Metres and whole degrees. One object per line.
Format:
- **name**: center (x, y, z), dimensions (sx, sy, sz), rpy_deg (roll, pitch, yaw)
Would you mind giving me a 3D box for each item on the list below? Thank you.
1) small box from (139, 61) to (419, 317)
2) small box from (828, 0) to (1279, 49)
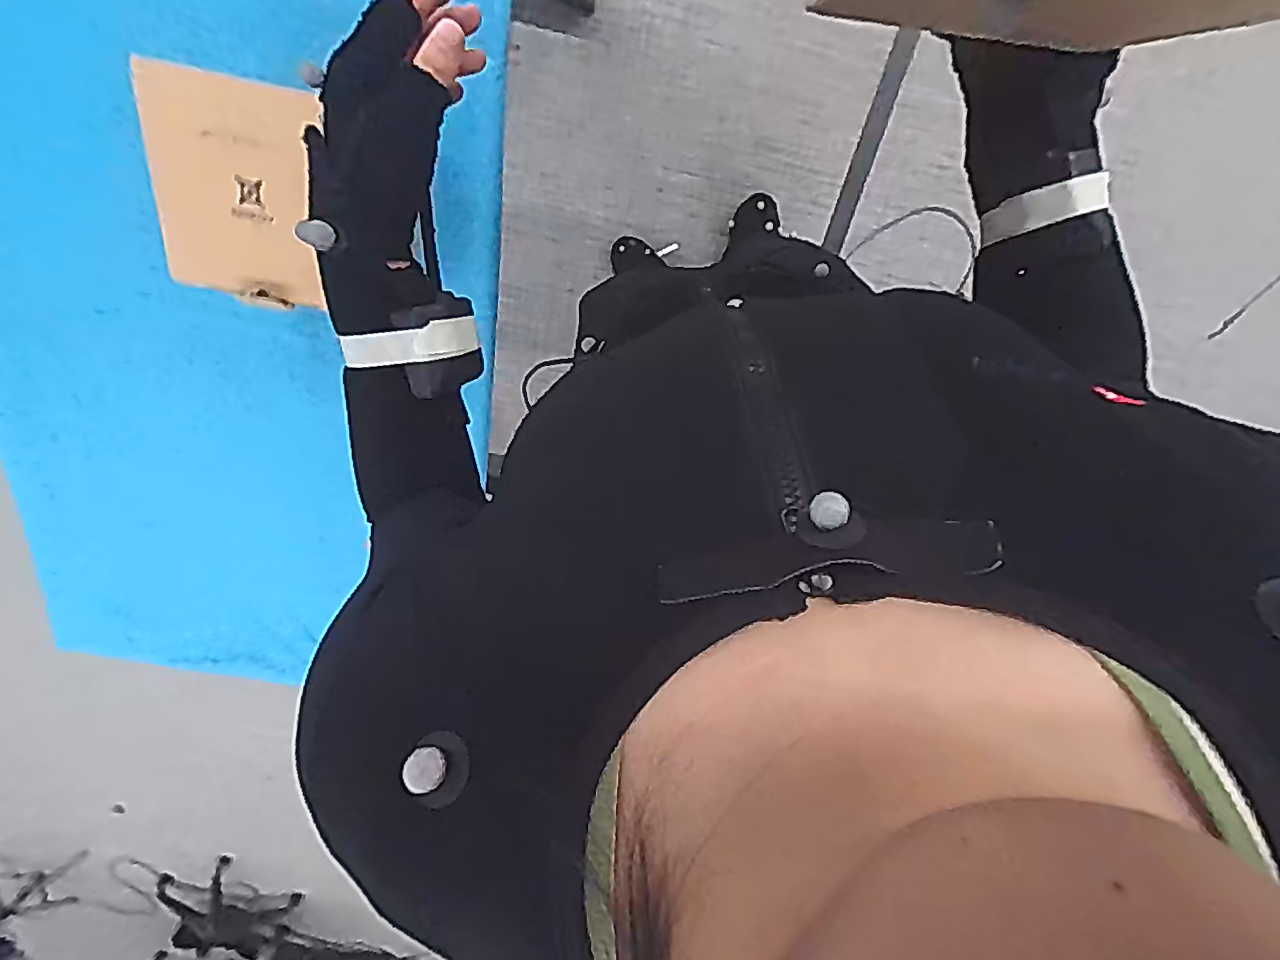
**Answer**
- **small box**: center (-0.337, -0.284, 0.549), dimensions (0.168, 0.176, 0.179), rpy_deg (10, 117, -4)
- **small box**: center (0.190, -0.282, 0.204), dimensions (0.179, 0.176, 0.168), rpy_deg (5, 123, -1)
